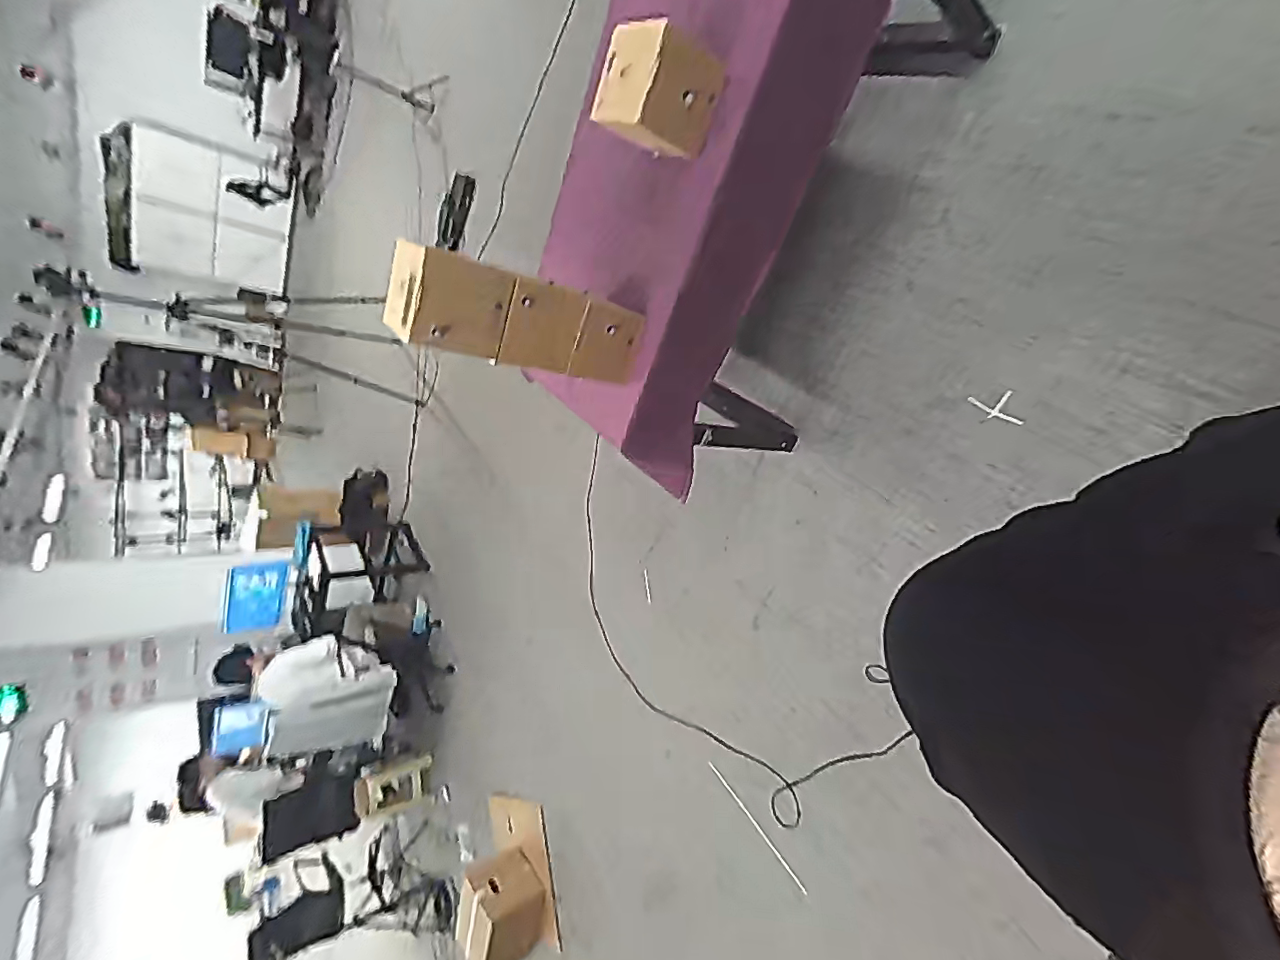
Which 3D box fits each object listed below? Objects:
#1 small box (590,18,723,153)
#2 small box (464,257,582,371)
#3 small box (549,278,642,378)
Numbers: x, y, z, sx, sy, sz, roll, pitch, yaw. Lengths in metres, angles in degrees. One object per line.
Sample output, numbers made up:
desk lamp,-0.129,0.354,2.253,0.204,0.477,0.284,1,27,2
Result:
small box,0.034,-0.776,1.075,0.179,0.176,0.168,41,119,39
small box,-0.246,-0.343,1.138,0.168,0.176,0.179,37,115,41
small box,-0.123,-0.344,1.245,0.179,0.176,0.168,40,117,41
